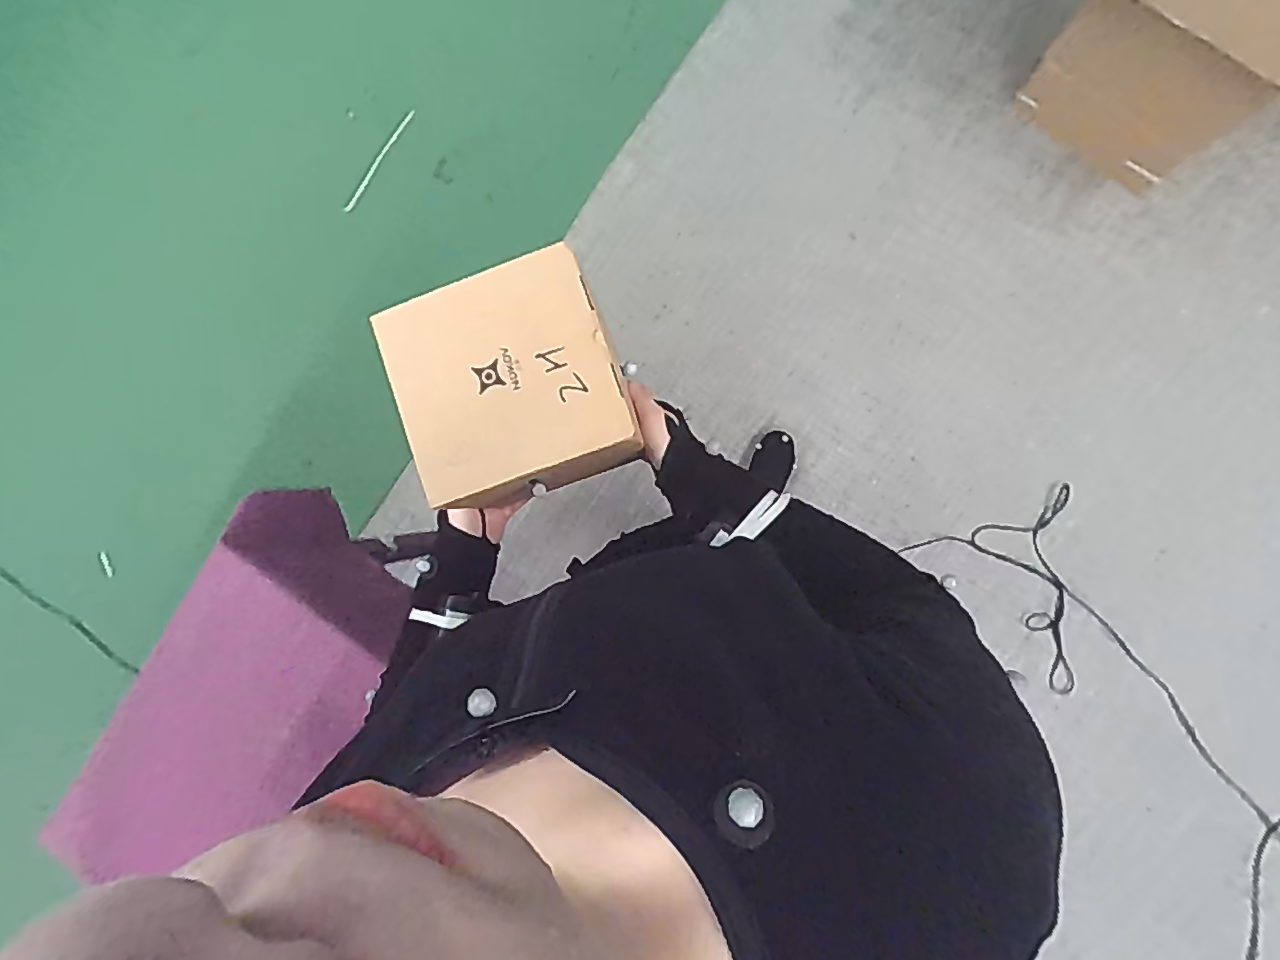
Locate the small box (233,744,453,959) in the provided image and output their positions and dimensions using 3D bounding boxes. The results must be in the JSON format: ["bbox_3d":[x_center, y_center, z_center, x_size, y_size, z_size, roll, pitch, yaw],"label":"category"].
[{"bbox_3d":[-0.387,0.506,0.742,0.168,0.176,0.179,33,92,8],"label":"small box"}]

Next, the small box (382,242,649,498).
[{"bbox_3d":[-0.099,-0.083,0.506,0.179,0.176,0.168,-18,87,3],"label":"small box"}]
